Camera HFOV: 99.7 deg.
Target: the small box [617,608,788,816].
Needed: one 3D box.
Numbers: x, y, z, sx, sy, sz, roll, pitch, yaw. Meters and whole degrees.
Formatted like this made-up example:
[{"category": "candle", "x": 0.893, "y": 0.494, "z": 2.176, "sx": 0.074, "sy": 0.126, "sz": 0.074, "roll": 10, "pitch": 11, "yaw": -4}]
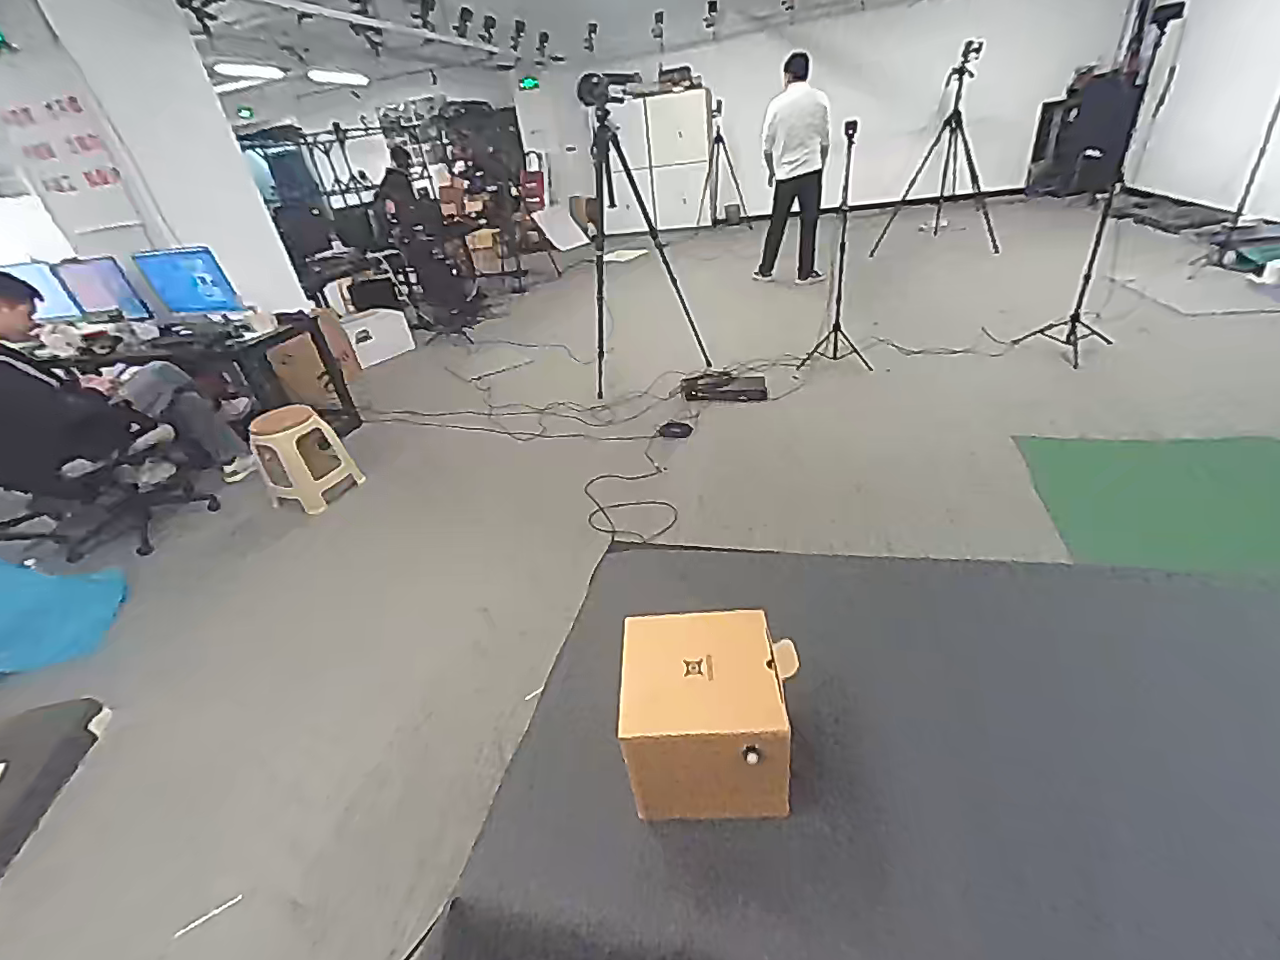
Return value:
[{"category": "small box", "x": 0.074, "y": 0.277, "z": 0.649, "sx": 0.179, "sy": 0.176, "sz": 0.168, "roll": -5, "pitch": 32, "yaw": 4}]
